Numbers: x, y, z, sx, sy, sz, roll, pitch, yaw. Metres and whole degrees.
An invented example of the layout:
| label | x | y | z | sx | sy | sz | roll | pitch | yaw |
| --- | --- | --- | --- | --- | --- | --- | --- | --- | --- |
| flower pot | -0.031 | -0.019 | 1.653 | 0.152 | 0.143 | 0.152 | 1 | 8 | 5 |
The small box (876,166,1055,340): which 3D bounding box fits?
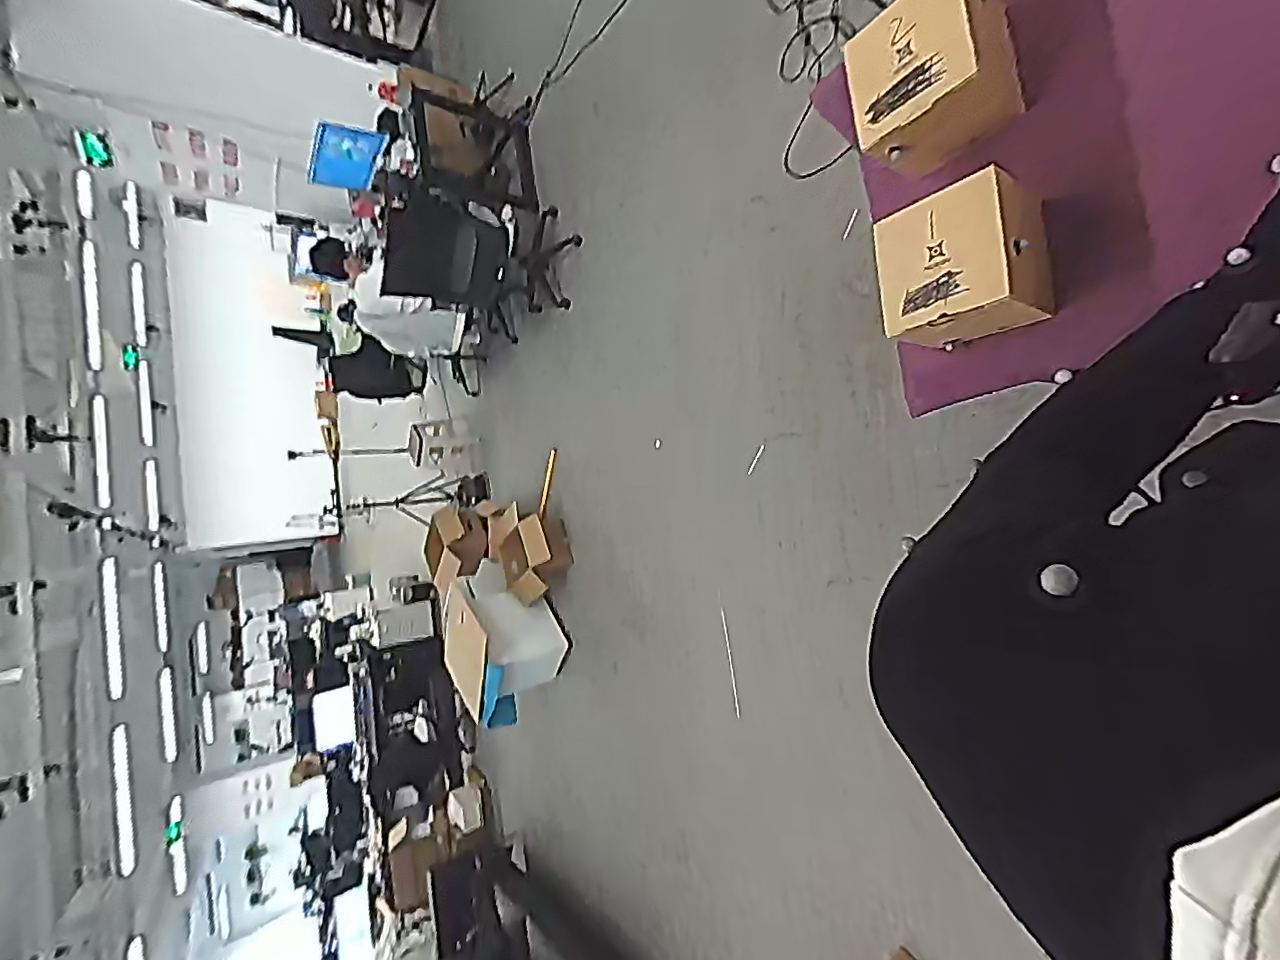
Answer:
| label | x | y | z | sx | sy | sz | roll | pitch | yaw |
| --- | --- | --- | --- | --- | --- | --- | --- | --- | --- |
| small box | 0.474 | -0.311 | 0.789 | 0.168 | 0.176 | 0.179 | -10 | 85 | 53 |
